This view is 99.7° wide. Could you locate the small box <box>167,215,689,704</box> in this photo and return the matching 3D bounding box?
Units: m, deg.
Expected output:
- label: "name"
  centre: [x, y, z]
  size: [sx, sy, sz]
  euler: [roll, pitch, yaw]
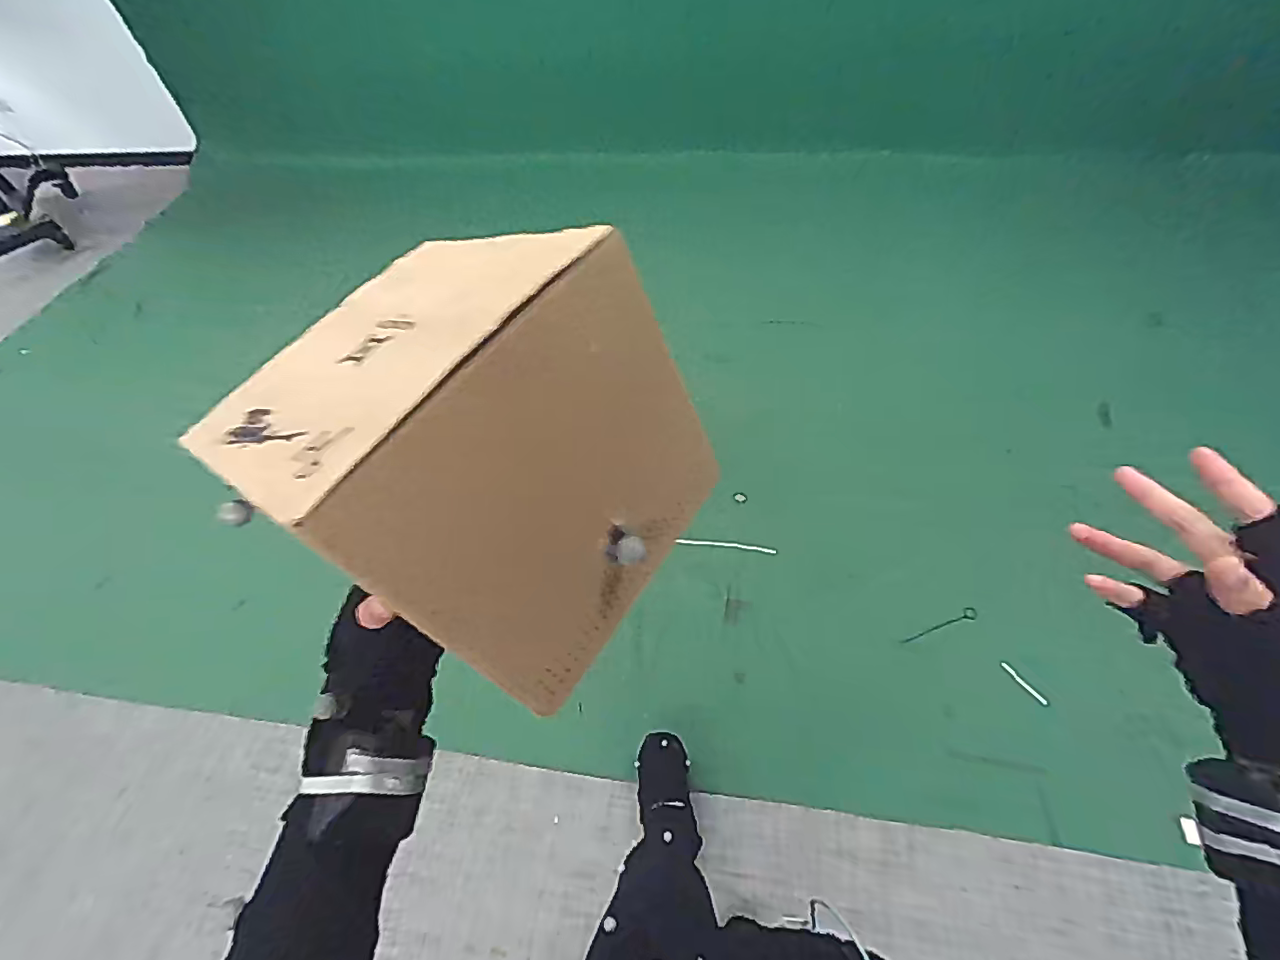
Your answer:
- label: "small box"
  centre: [-0.091, -0.016, 0.299]
  size: [0.168, 0.176, 0.179]
  euler: [16, 58, 39]
